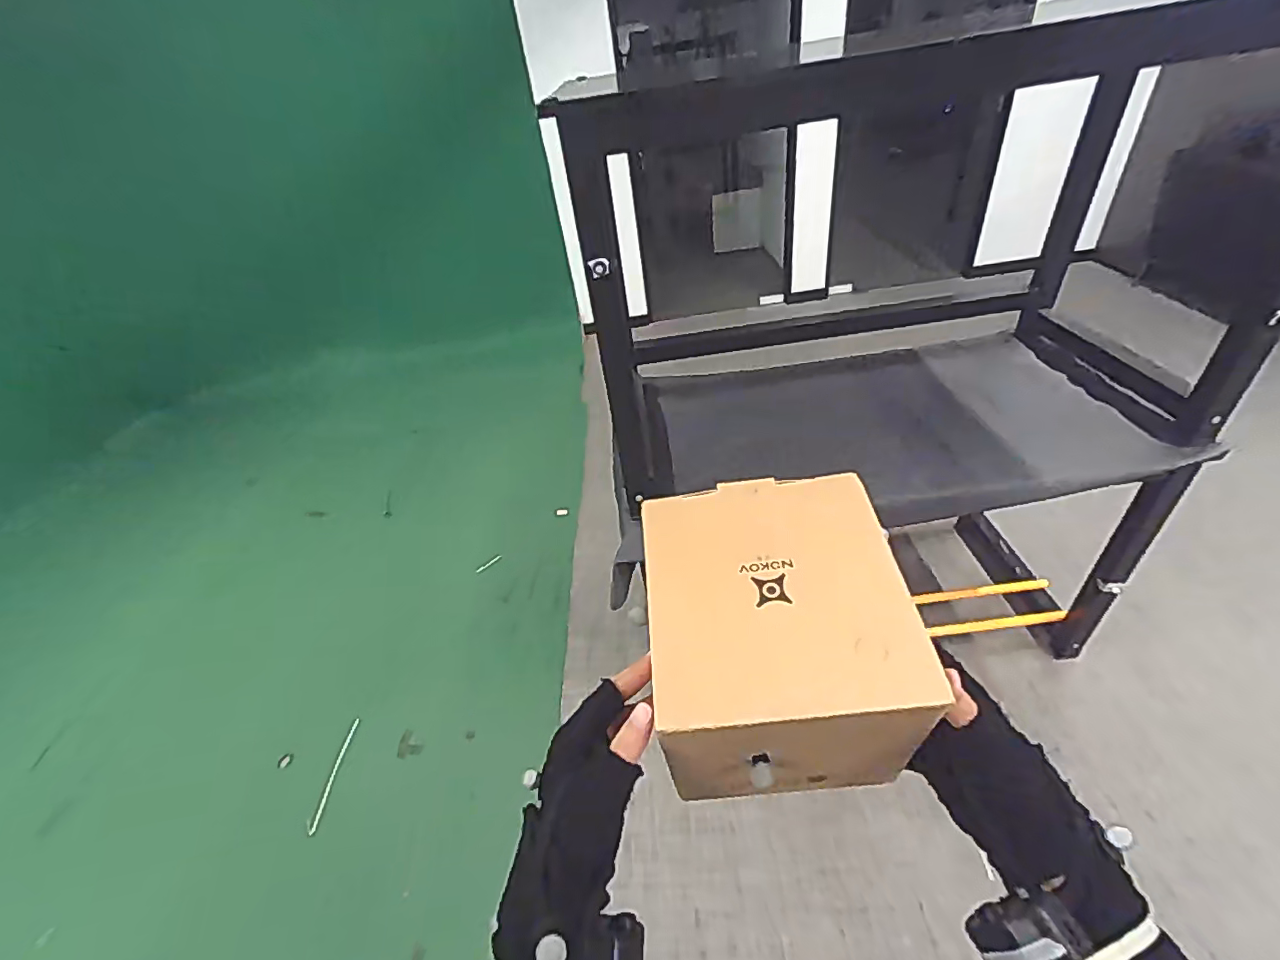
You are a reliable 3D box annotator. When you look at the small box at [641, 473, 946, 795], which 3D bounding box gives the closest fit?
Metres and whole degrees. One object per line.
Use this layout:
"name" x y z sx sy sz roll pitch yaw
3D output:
"small box" 0.096 0.122 0.410 0.168 0.176 0.179 -8 45 5
